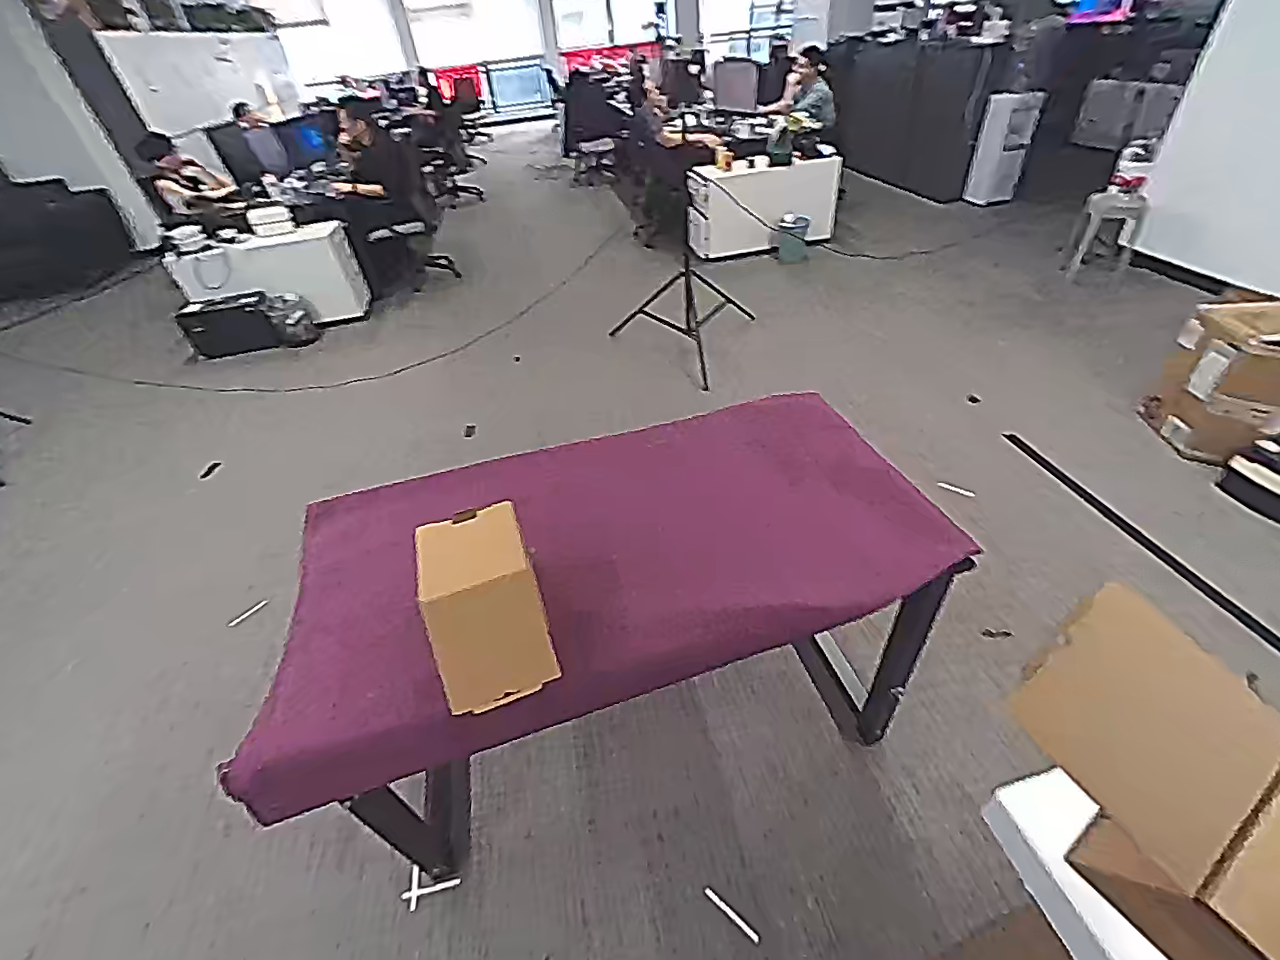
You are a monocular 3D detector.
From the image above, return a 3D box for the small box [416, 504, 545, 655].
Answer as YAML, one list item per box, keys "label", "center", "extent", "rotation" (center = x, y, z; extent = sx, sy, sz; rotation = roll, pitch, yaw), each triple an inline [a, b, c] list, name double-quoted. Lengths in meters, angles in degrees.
- label: "small box"
  center: [-0.271, 0.175, 0.927]
  extent: [0.168, 0.176, 0.179]
  rotation: [-17, 40, -12]
